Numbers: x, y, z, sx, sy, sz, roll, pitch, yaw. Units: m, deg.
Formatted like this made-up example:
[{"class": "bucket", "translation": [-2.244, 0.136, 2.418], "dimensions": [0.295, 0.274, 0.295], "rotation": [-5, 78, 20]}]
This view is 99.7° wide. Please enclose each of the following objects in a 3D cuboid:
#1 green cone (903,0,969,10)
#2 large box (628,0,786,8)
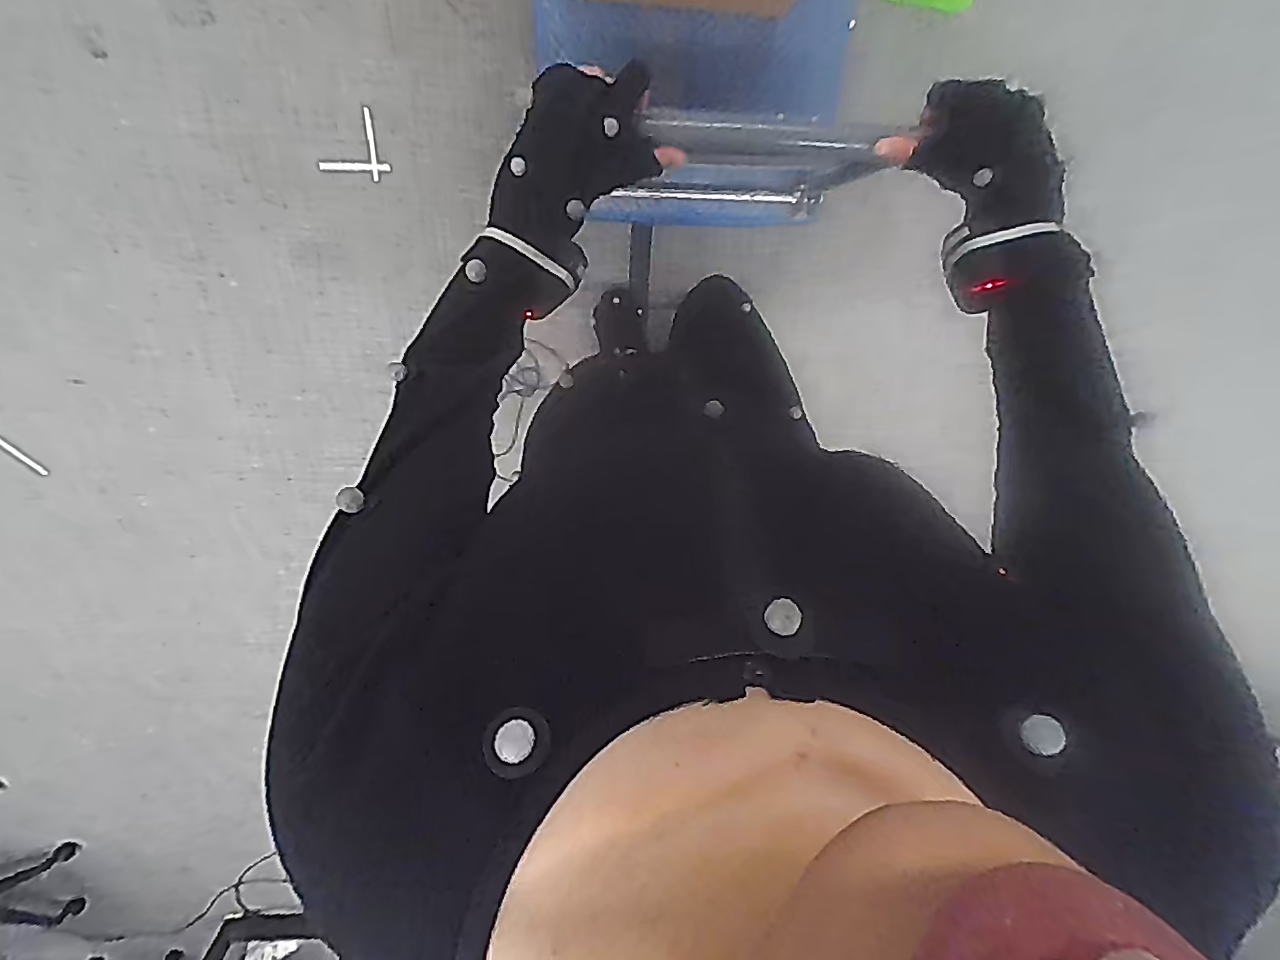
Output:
[{"class": "green cone", "translation": [0.616, -1.018, 0.937], "dimensions": [0.202, 0.368, 0.200], "rotation": [4, 114, -6]}, {"class": "large box", "translation": [0.073, -0.937, 0.783], "dimensions": [0.408, 0.320, 0.320], "rotation": [2, 114, -3]}]
